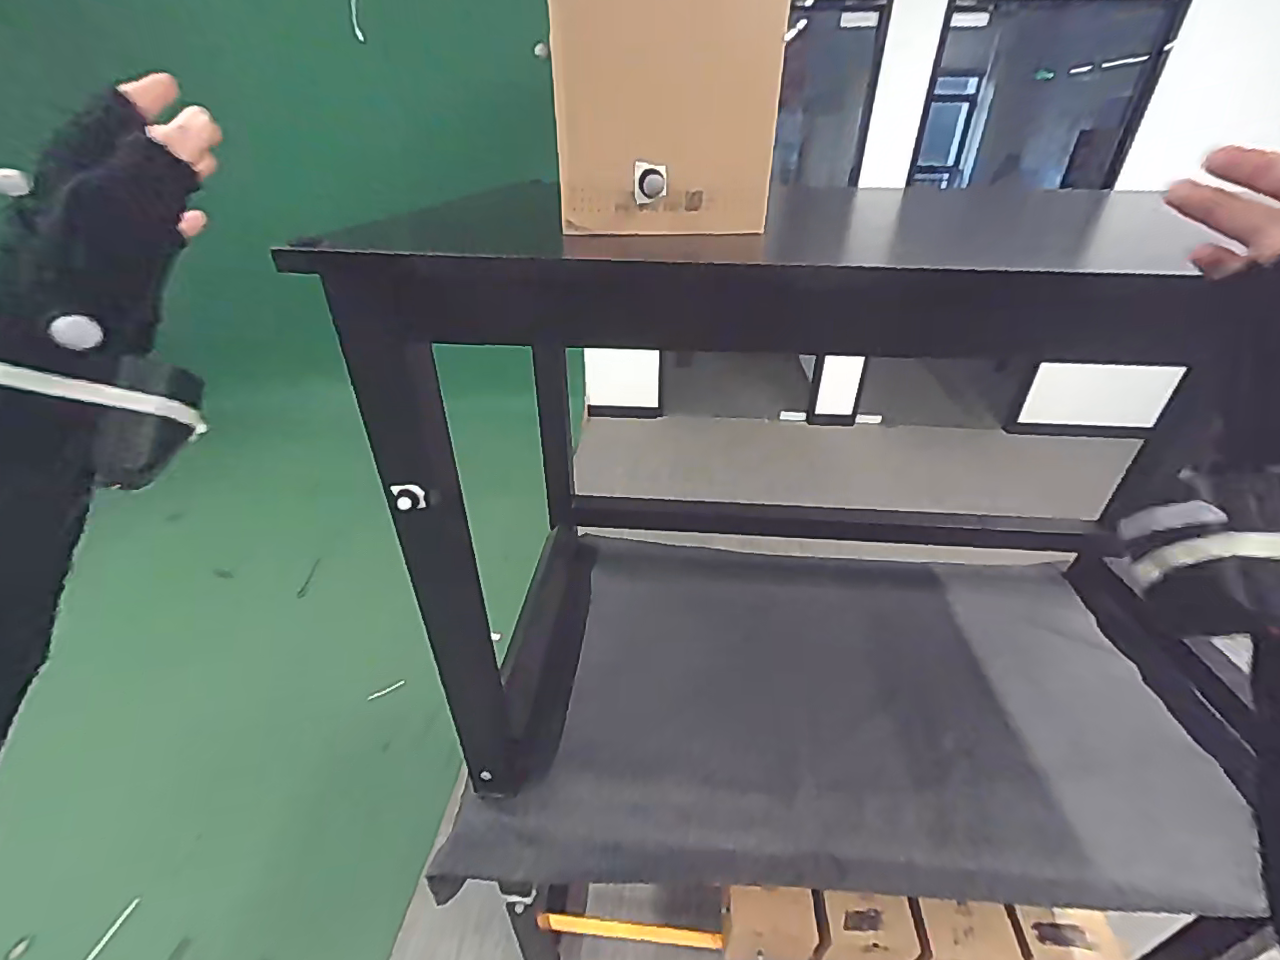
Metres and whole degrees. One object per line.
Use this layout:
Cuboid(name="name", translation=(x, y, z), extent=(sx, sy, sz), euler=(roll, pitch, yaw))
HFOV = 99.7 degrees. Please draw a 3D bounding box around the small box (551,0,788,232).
Cuboid(name="small box", translation=(0.011, -0.319, 0.468), extent=(0.168, 0.176, 0.179), euler=(-4, 34, -5))
